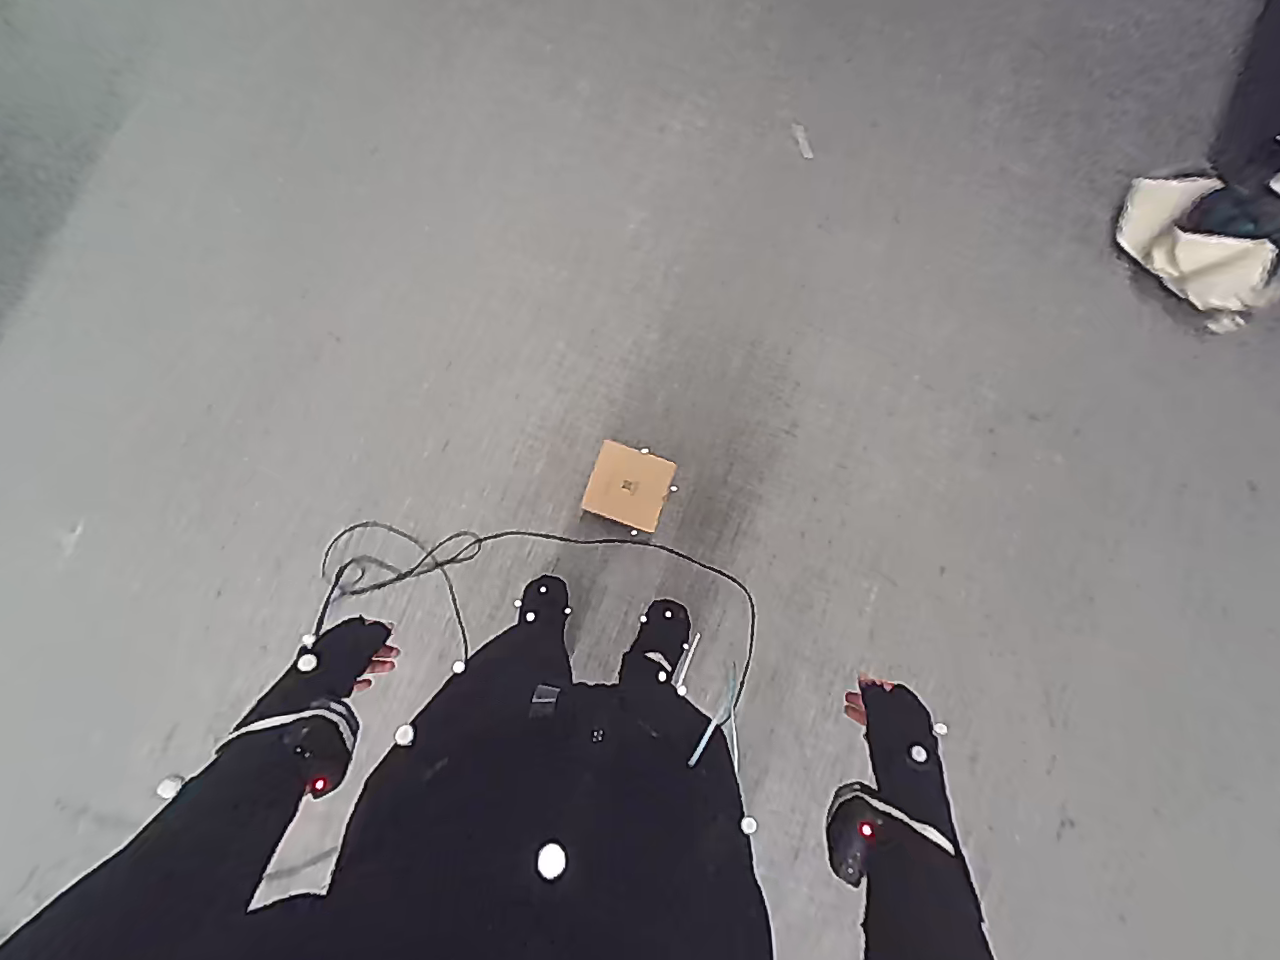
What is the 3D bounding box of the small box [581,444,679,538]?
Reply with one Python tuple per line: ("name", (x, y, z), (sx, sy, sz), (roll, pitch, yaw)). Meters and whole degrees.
("small box", (-0.021, 0.031, 1.270), (0.179, 0.176, 0.168), (20, 83, 3))
